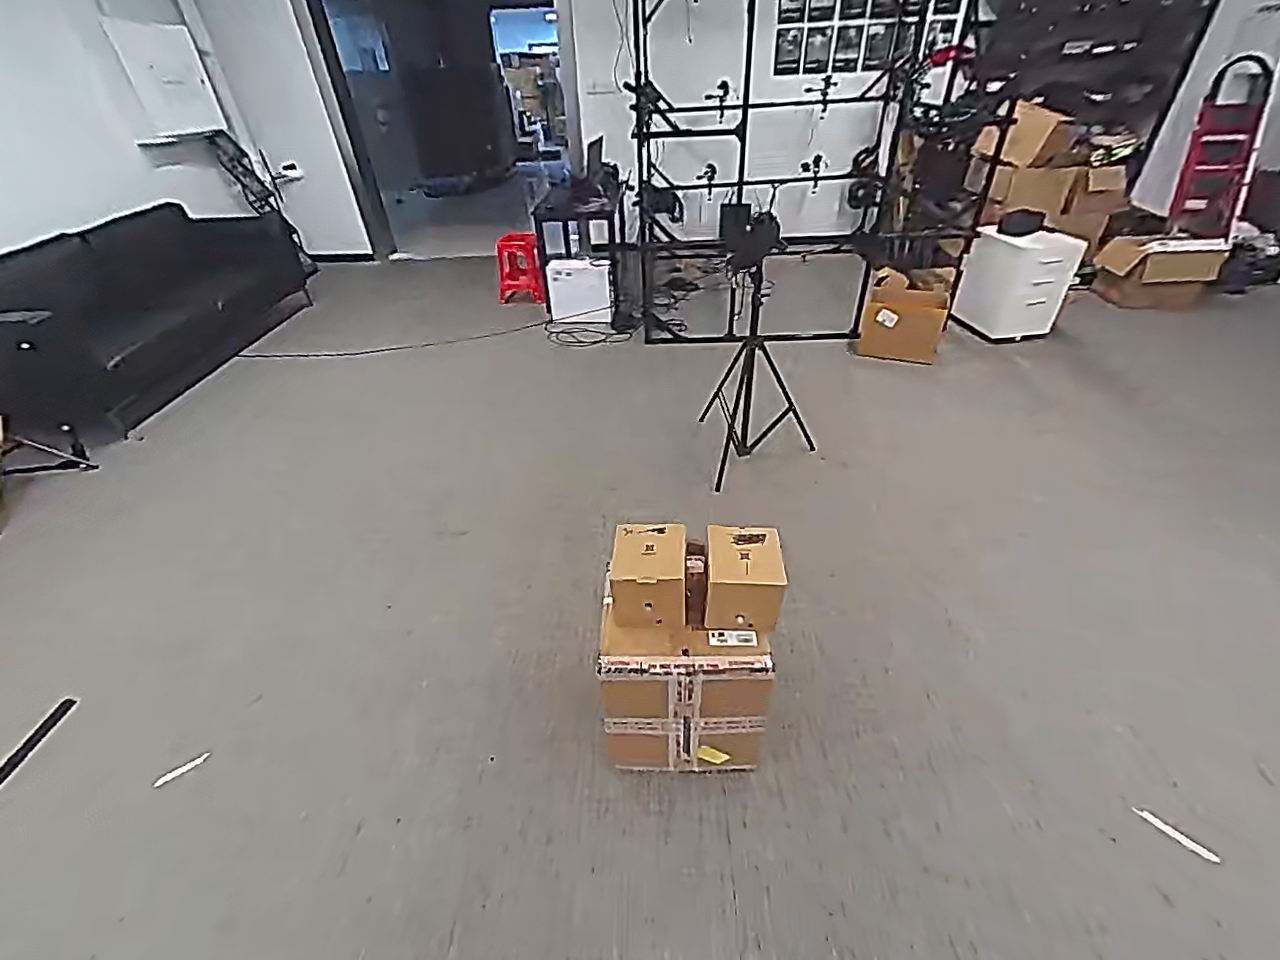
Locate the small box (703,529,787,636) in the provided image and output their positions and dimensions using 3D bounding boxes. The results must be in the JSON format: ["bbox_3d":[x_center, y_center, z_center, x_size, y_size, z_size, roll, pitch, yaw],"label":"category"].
[{"bbox_3d":[0.235,0.237,1.260,0.168,0.176,0.179,2,40,3],"label":"small box"}]

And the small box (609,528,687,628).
[{"bbox_3d":[0.026,0.232,1.275,0.168,0.176,0.179,0,40,6],"label":"small box"}]
